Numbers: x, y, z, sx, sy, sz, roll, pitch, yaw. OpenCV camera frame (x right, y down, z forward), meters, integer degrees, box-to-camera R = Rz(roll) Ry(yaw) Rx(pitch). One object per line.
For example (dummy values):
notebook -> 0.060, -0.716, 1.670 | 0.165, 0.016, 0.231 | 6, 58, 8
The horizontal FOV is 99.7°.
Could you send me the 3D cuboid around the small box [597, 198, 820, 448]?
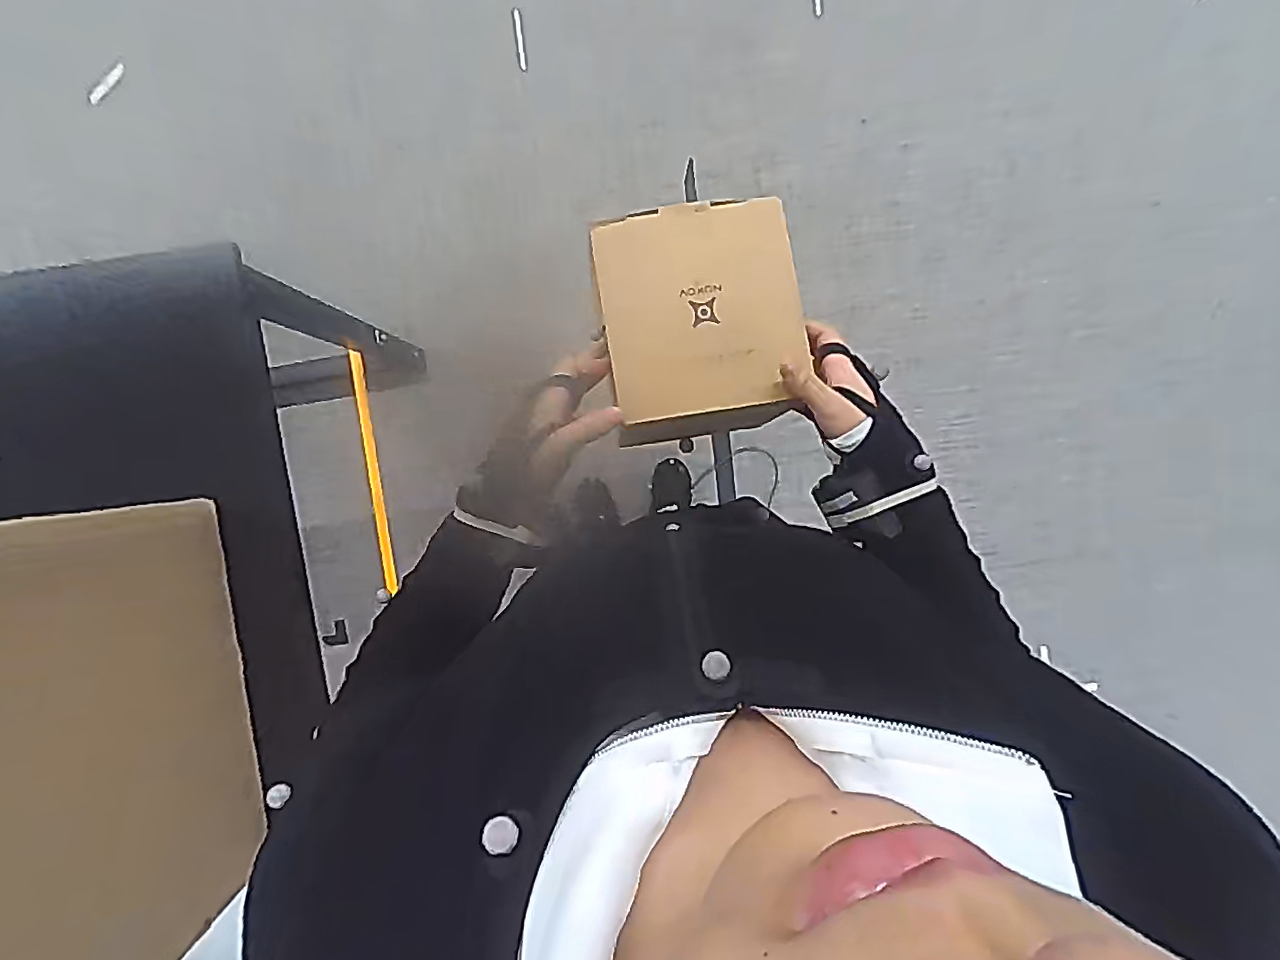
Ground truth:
small box -> 0.052, -0.136, 0.526 | 0.168, 0.176, 0.179 | -10, 88, -3
